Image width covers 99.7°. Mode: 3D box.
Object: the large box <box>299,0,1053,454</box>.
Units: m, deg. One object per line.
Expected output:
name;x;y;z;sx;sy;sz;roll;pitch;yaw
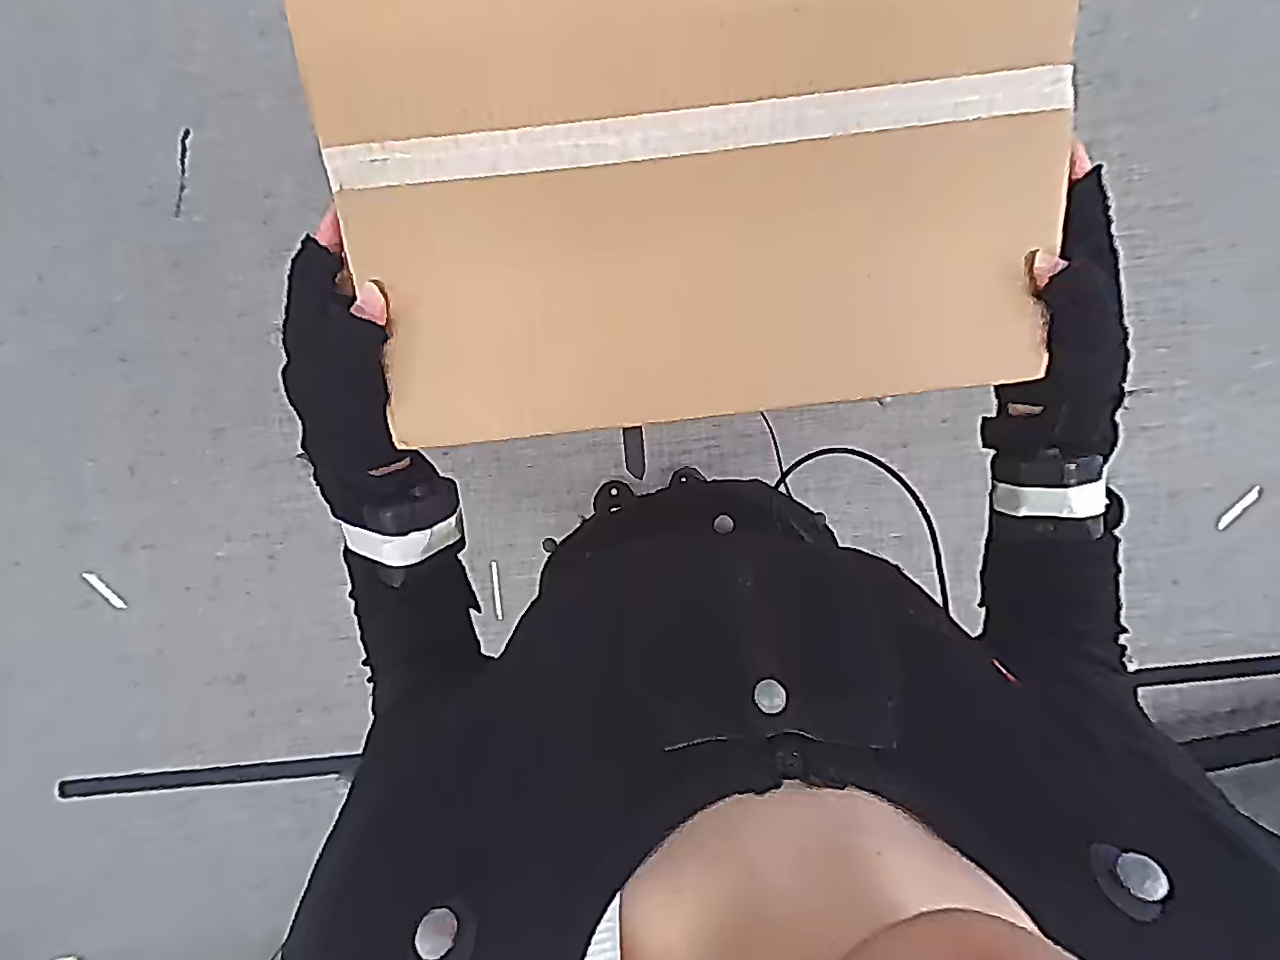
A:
large box;0.026;-0.229;0.448;0.408;0.320;0.320;-7;106;0
